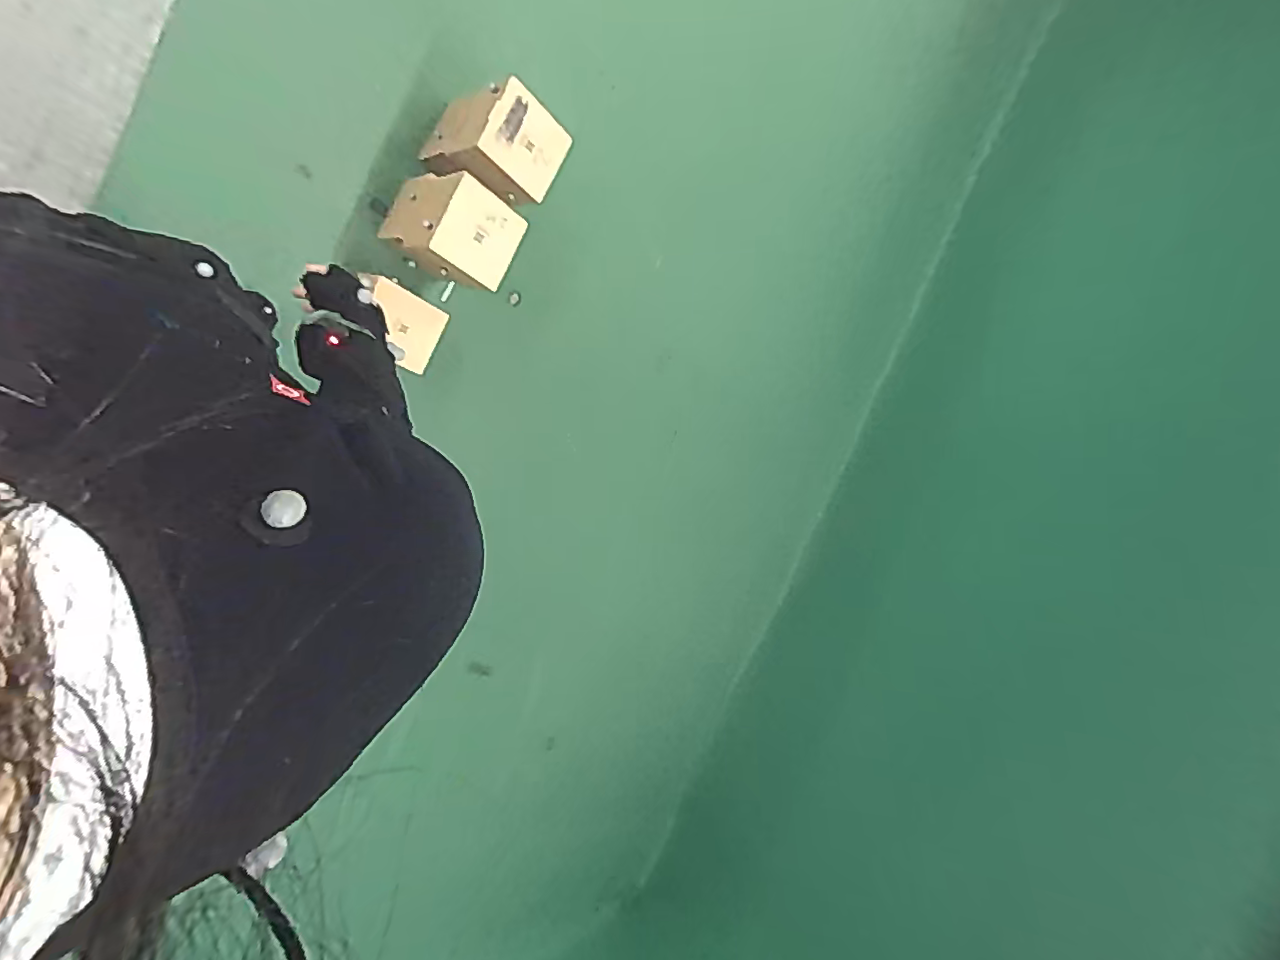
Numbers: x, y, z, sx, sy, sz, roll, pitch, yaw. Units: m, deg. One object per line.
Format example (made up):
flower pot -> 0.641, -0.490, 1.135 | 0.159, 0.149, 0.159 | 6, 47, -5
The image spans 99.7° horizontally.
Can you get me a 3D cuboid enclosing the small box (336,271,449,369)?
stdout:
small box -> -0.605, -0.394, 1.315 | 0.179, 0.176, 0.168 | 25, 91, -45
